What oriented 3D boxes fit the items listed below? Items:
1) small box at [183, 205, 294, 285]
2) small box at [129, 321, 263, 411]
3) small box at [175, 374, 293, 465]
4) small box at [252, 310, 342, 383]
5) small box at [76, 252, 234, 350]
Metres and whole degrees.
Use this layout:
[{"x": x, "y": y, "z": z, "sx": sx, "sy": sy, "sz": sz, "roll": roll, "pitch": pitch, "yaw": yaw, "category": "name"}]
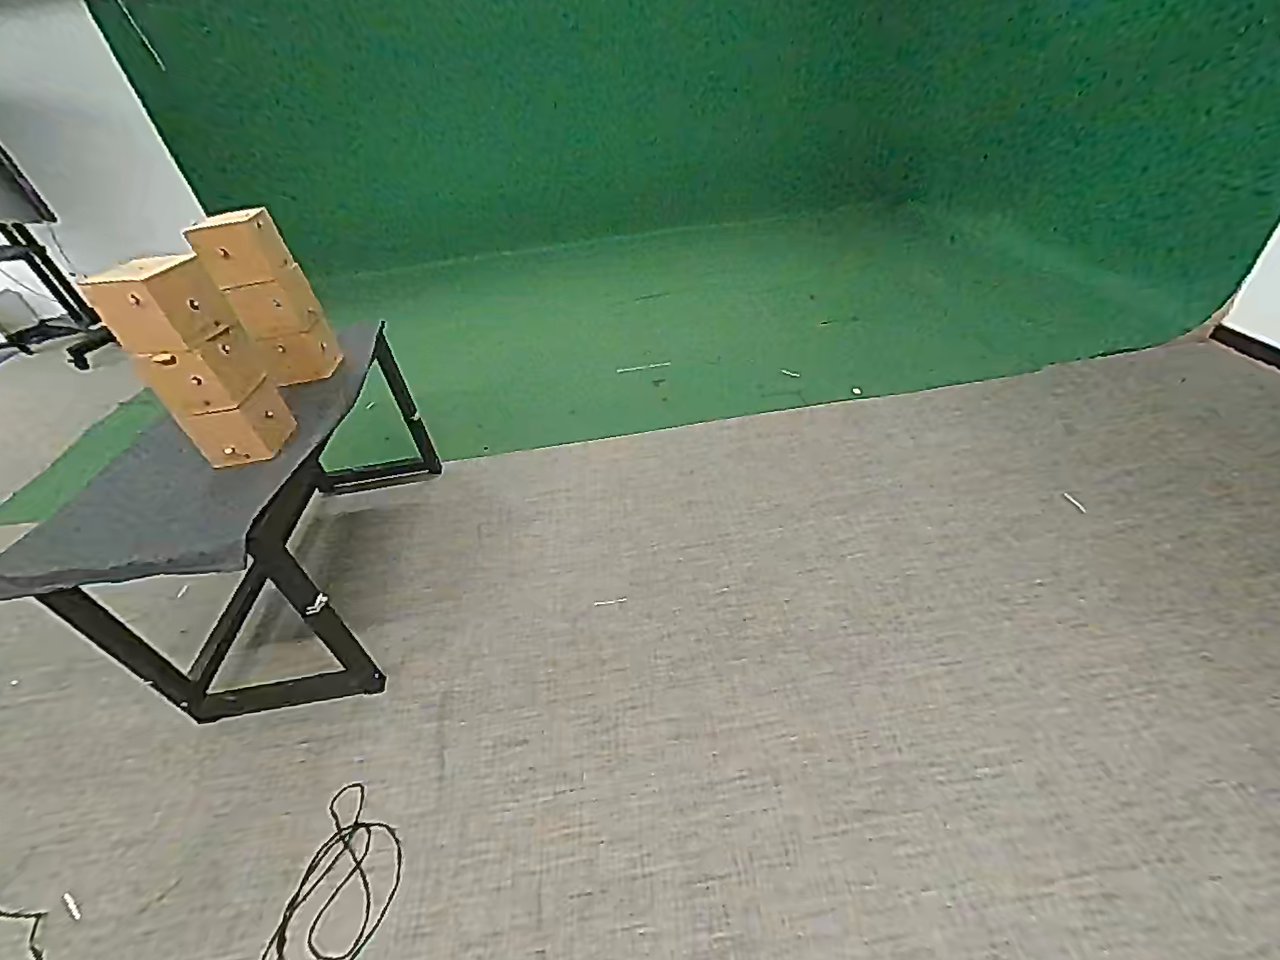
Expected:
[{"x": -1.176, "y": -0.692, "z": 1.599, "sx": 0.179, "sy": 0.176, "sz": 0.168, "roll": -12, "pitch": 40, "yaw": -3, "category": "small box"}, {"x": -1.101, "y": -0.286, "z": 1.364, "sx": 0.168, "sy": 0.176, "sz": 0.179, "roll": -7, "pitch": 39, "yaw": 0, "category": "small box"}, {"x": -1.086, "y": -0.164, "z": 1.470, "sx": 0.168, "sy": 0.176, "sz": 0.179, "roll": -9, "pitch": 40, "yaw": 0, "category": "small box"}, {"x": -1.137, "y": -0.445, "z": 1.812, "sx": 0.179, "sy": 0.176, "sz": 0.168, "roll": -10, "pitch": 40, "yaw": -1, "category": "small box"}, {"x": -1.113, "y": -0.414, "z": 1.261, "sx": 0.179, "sy": 0.176, "sz": 0.168, "roll": 0, "pitch": 40, "yaw": 9, "category": "small box"}]
